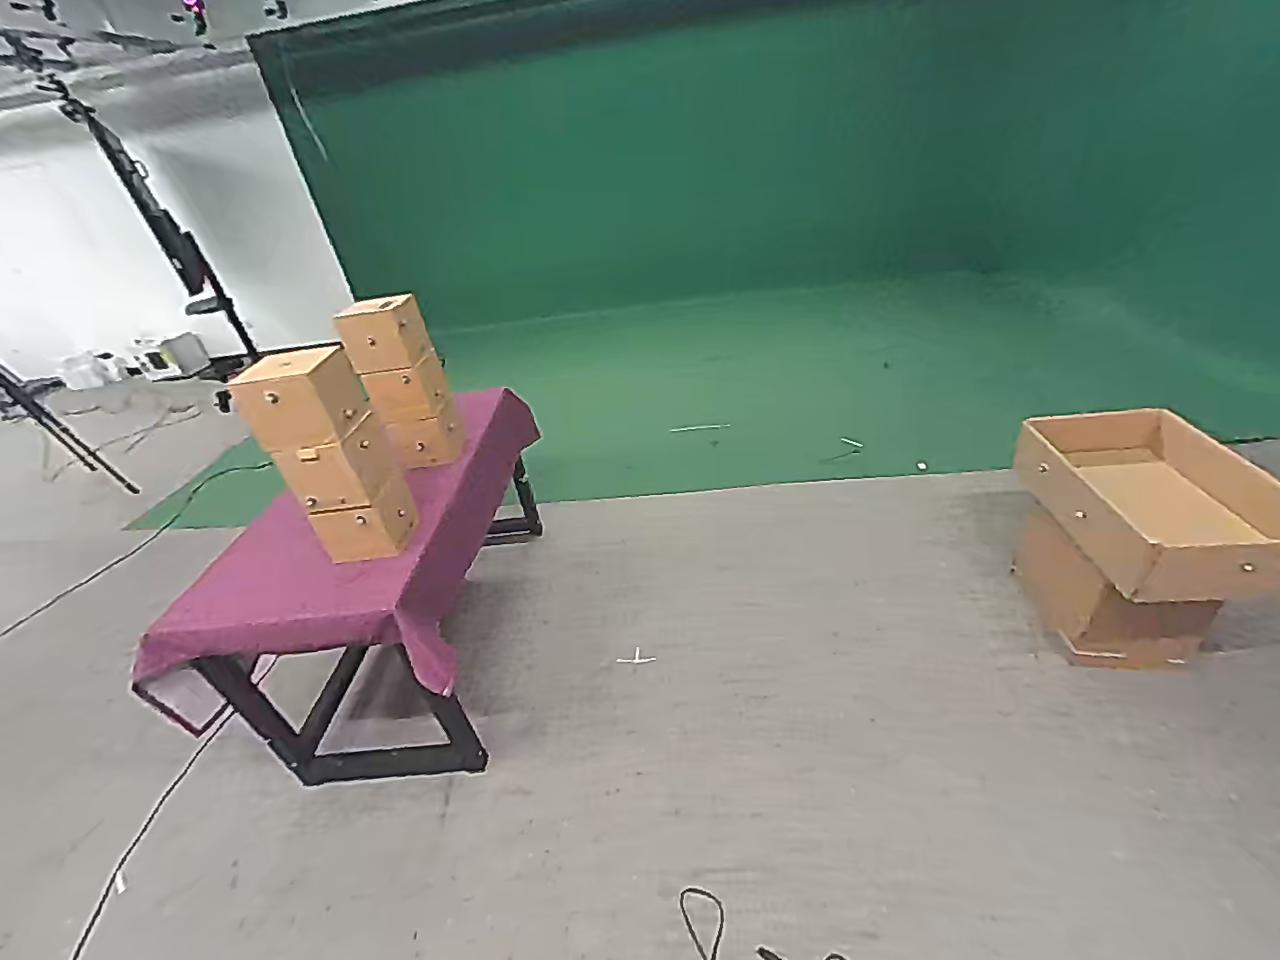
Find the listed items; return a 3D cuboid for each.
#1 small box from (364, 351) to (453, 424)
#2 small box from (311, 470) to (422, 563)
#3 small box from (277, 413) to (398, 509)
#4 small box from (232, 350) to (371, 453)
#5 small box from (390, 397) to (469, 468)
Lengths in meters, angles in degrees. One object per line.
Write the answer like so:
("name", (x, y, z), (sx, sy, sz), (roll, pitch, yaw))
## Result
("small box", (-0.710, -0.283, 1.678), (0.179, 0.176, 0.168), (-6, 33, 5))
("small box", (-0.692, 0.095, 1.396), (0.179, 0.176, 0.168), (-7, 32, 5))
("small box", (-0.715, -0.041, 1.306), (0.168, 0.176, 0.179), (-7, 32, 4))
("small box", (-0.748, -0.174, 1.218), (0.179, 0.176, 0.168), (-7, 34, 3))
("small box", (-0.680, -0.151, 1.769), (0.168, 0.176, 0.179), (-7, 34, 4))
